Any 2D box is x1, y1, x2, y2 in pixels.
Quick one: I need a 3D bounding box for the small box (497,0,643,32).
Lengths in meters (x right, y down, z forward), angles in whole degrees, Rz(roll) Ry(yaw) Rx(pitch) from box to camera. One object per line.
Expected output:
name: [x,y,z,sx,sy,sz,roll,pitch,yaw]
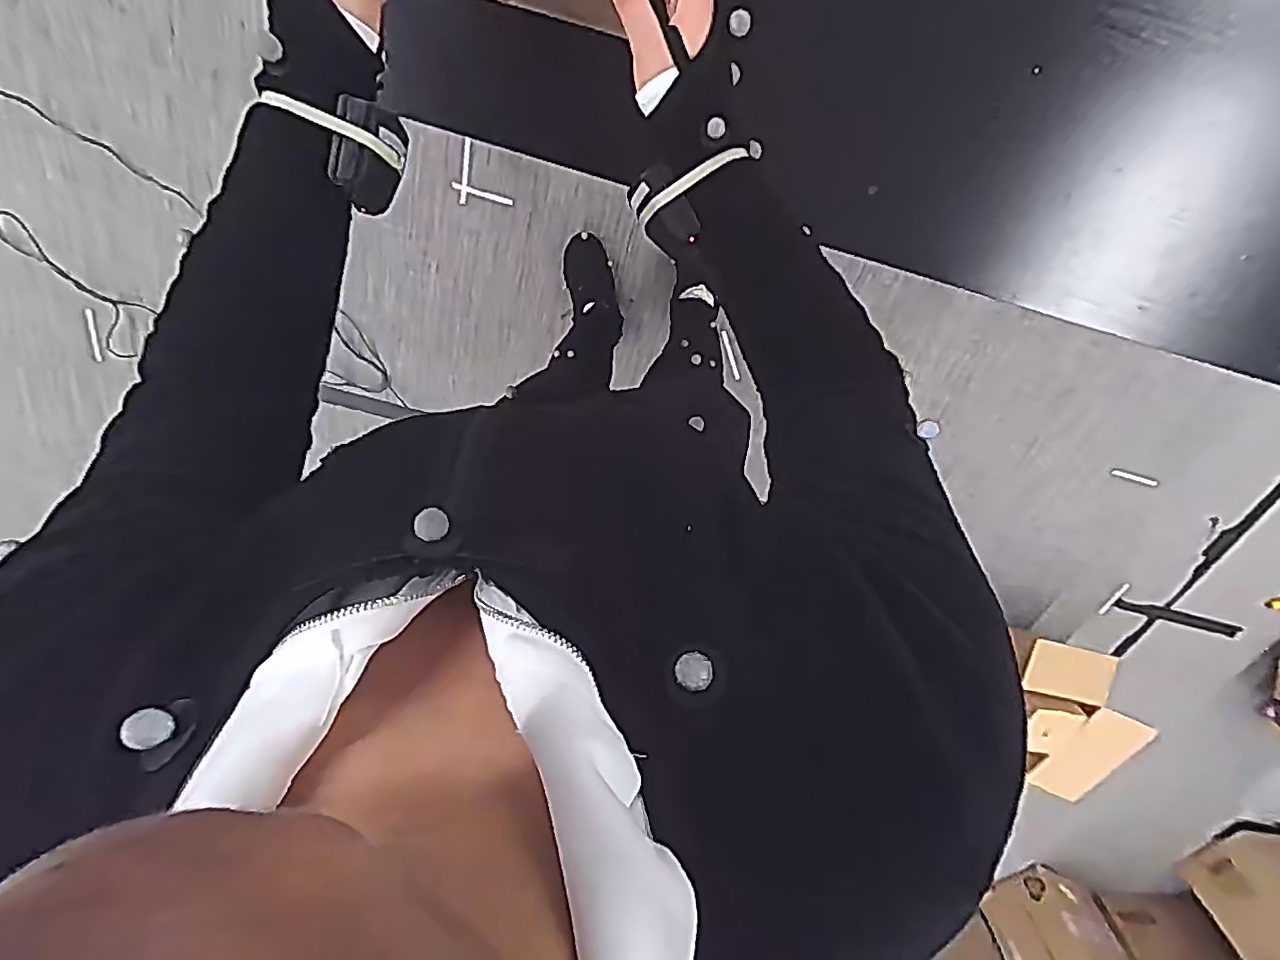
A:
small box: [-0.072,-0.462,0.395,0.179,0.176,0.168,11,121,-6]
